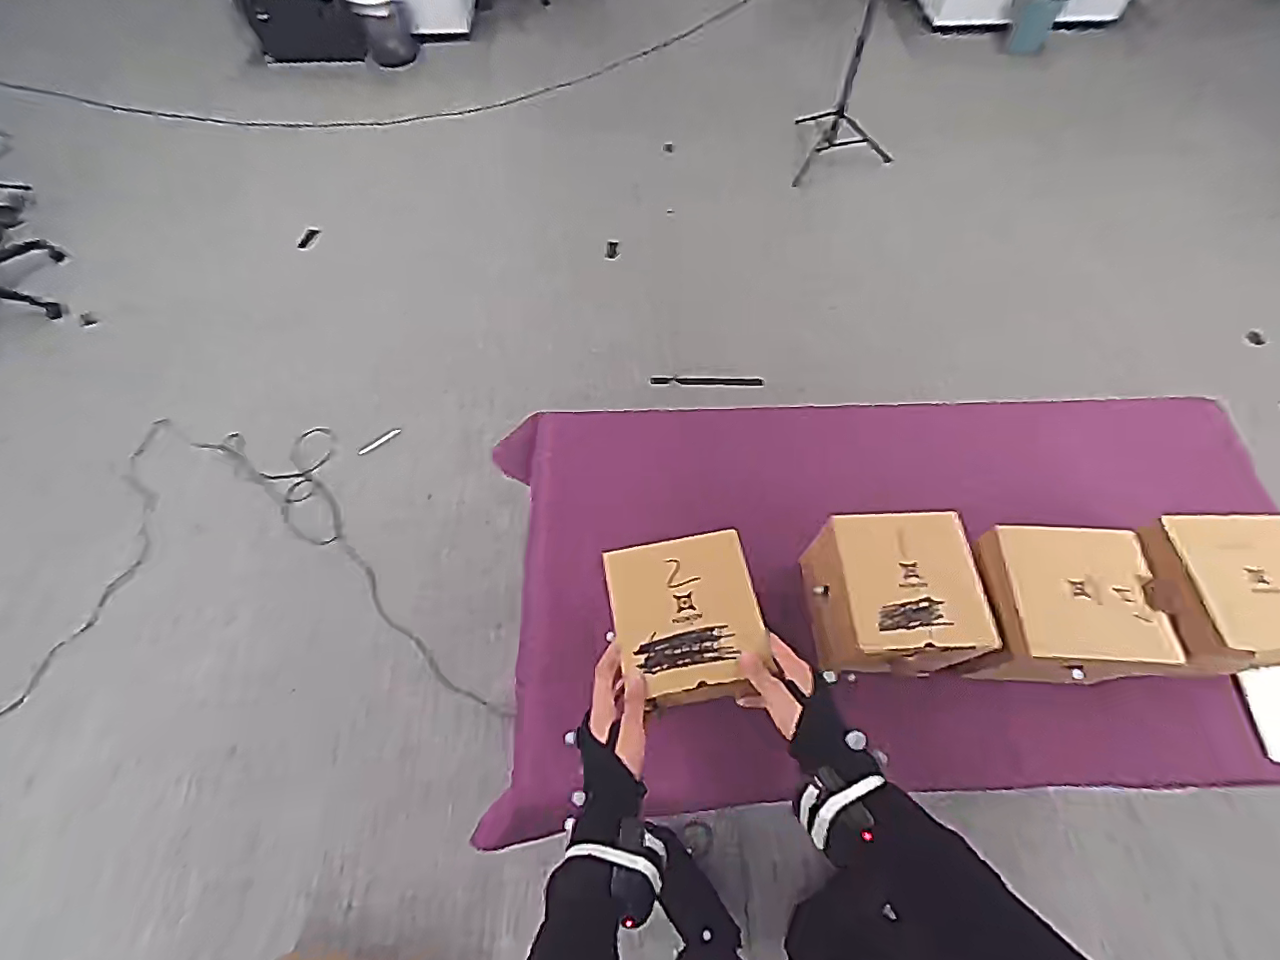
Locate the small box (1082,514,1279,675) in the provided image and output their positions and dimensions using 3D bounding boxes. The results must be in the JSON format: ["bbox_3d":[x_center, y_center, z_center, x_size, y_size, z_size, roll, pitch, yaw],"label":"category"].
[{"bbox_3d":[0.754,0.159,0.722,0.168,0.176,0.179,0,61,1],"label":"small box"}]
